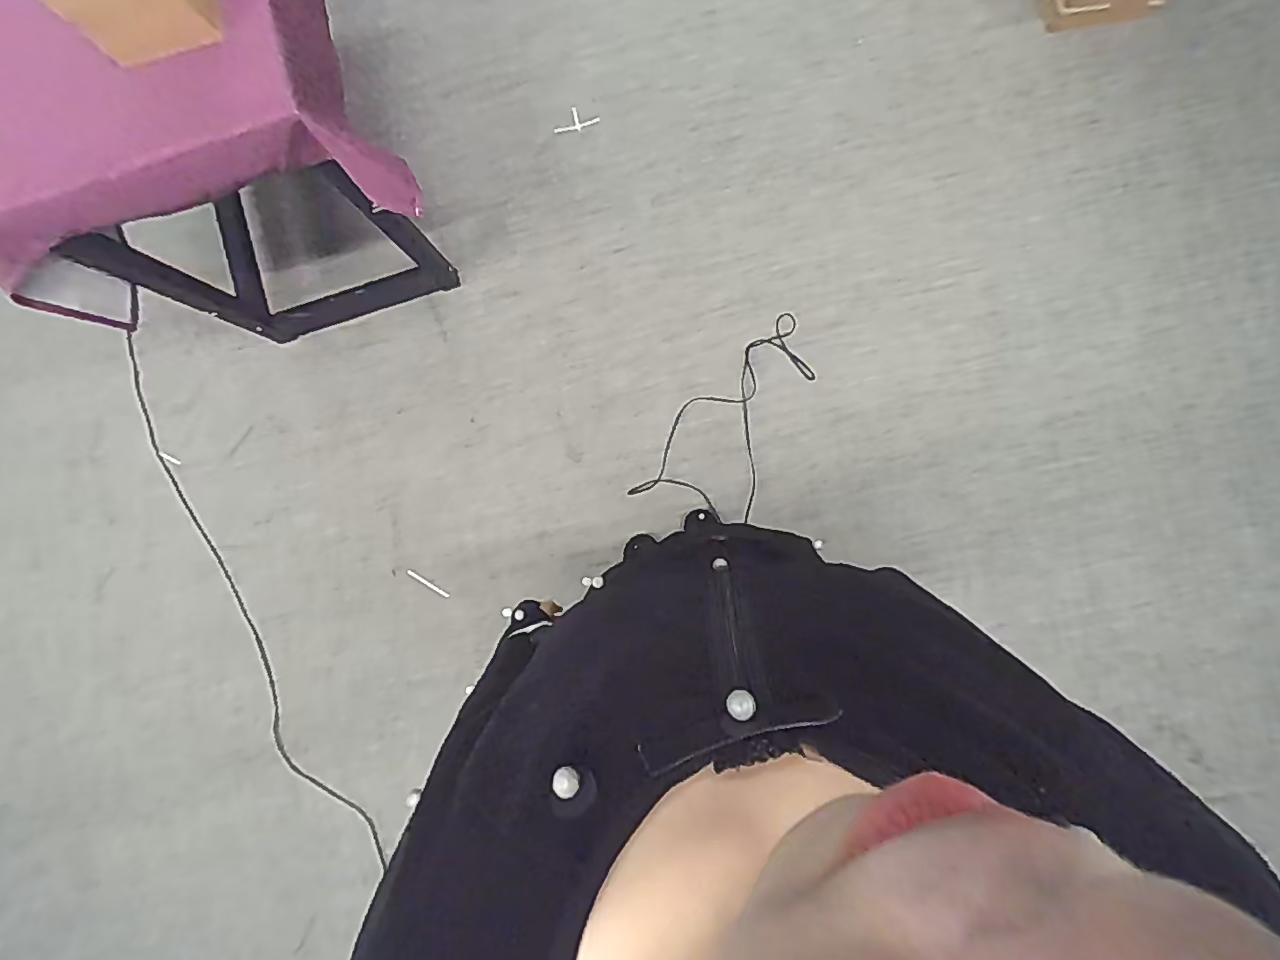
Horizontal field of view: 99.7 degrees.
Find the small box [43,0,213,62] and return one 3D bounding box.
[{"bbox_3d":[-0.768,-0.767,0.787,0.179,0.176,0.168,-13,86,3],"label":"small box"}]
